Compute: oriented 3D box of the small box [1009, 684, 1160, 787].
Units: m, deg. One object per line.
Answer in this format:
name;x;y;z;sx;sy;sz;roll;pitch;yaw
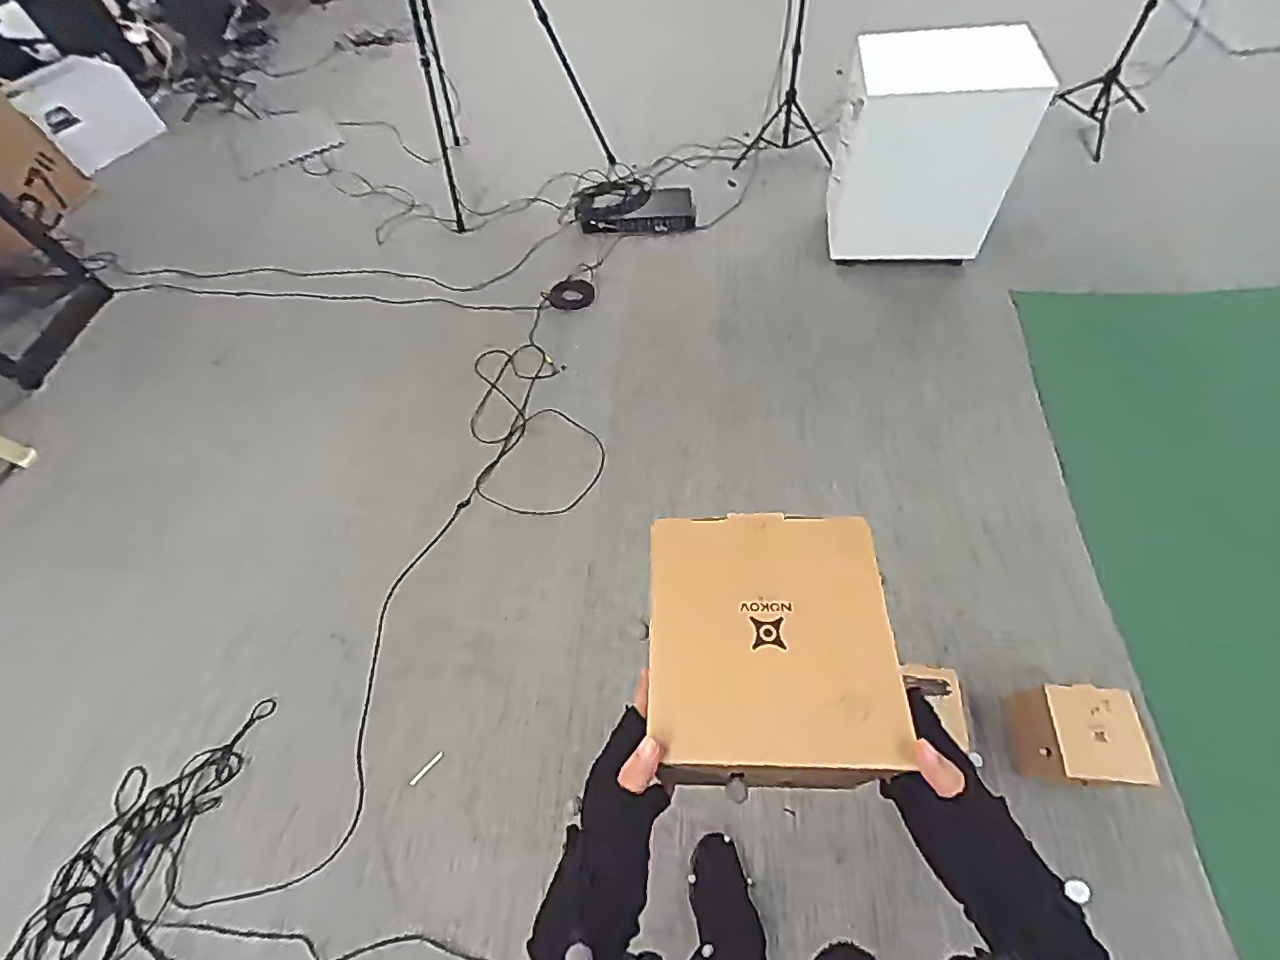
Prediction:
small box;0.921;0.542;1.142;0.168;0.176;0.179;2;59;7
